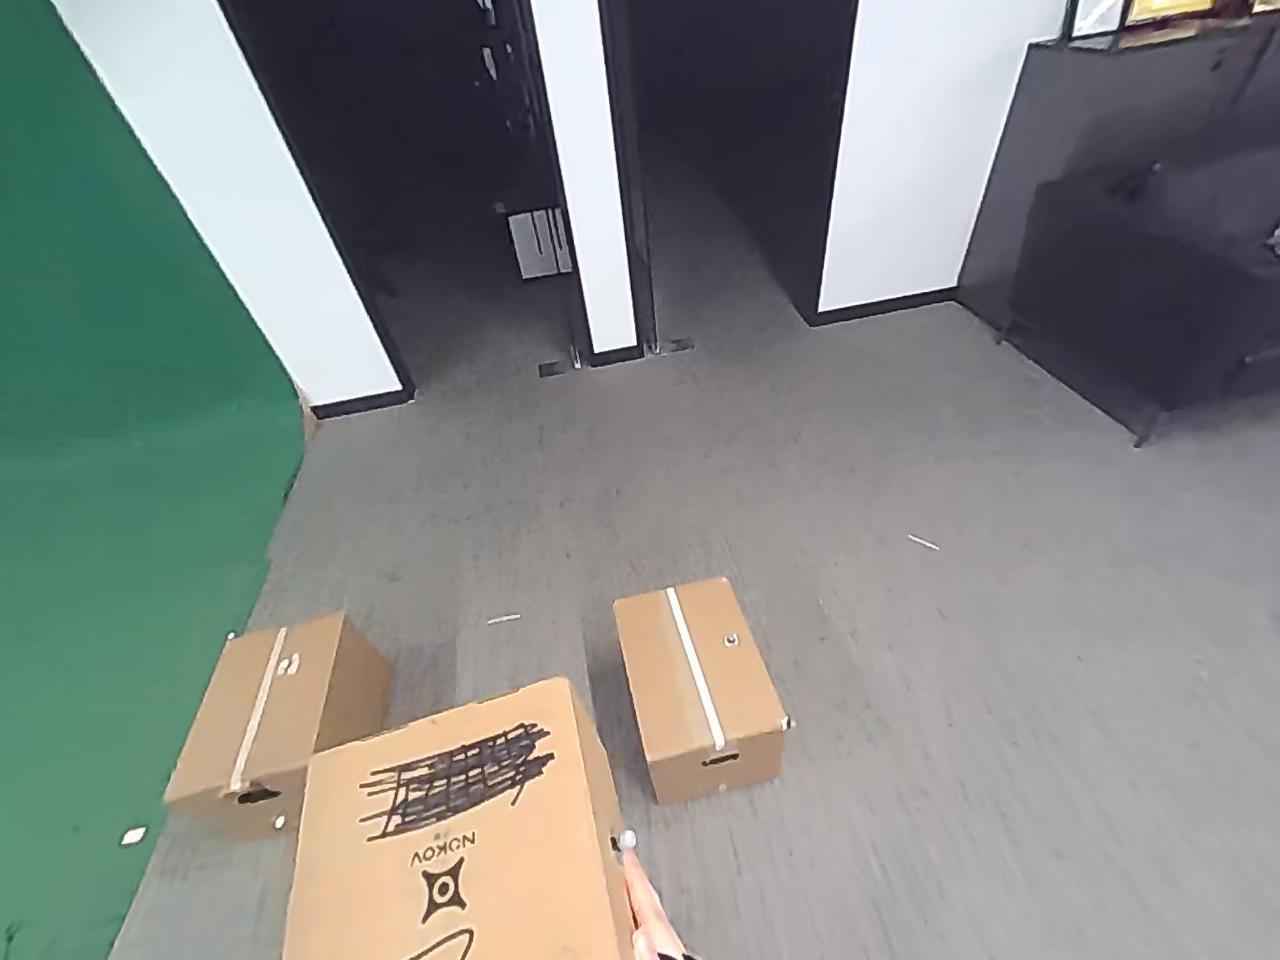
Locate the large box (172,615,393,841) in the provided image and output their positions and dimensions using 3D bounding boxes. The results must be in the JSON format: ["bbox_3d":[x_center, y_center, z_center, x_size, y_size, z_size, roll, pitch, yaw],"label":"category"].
[{"bbox_3d":[-0.880,0.636,1.408,0.320,0.320,0.408,-13,42,-4],"label":"large box"}]
